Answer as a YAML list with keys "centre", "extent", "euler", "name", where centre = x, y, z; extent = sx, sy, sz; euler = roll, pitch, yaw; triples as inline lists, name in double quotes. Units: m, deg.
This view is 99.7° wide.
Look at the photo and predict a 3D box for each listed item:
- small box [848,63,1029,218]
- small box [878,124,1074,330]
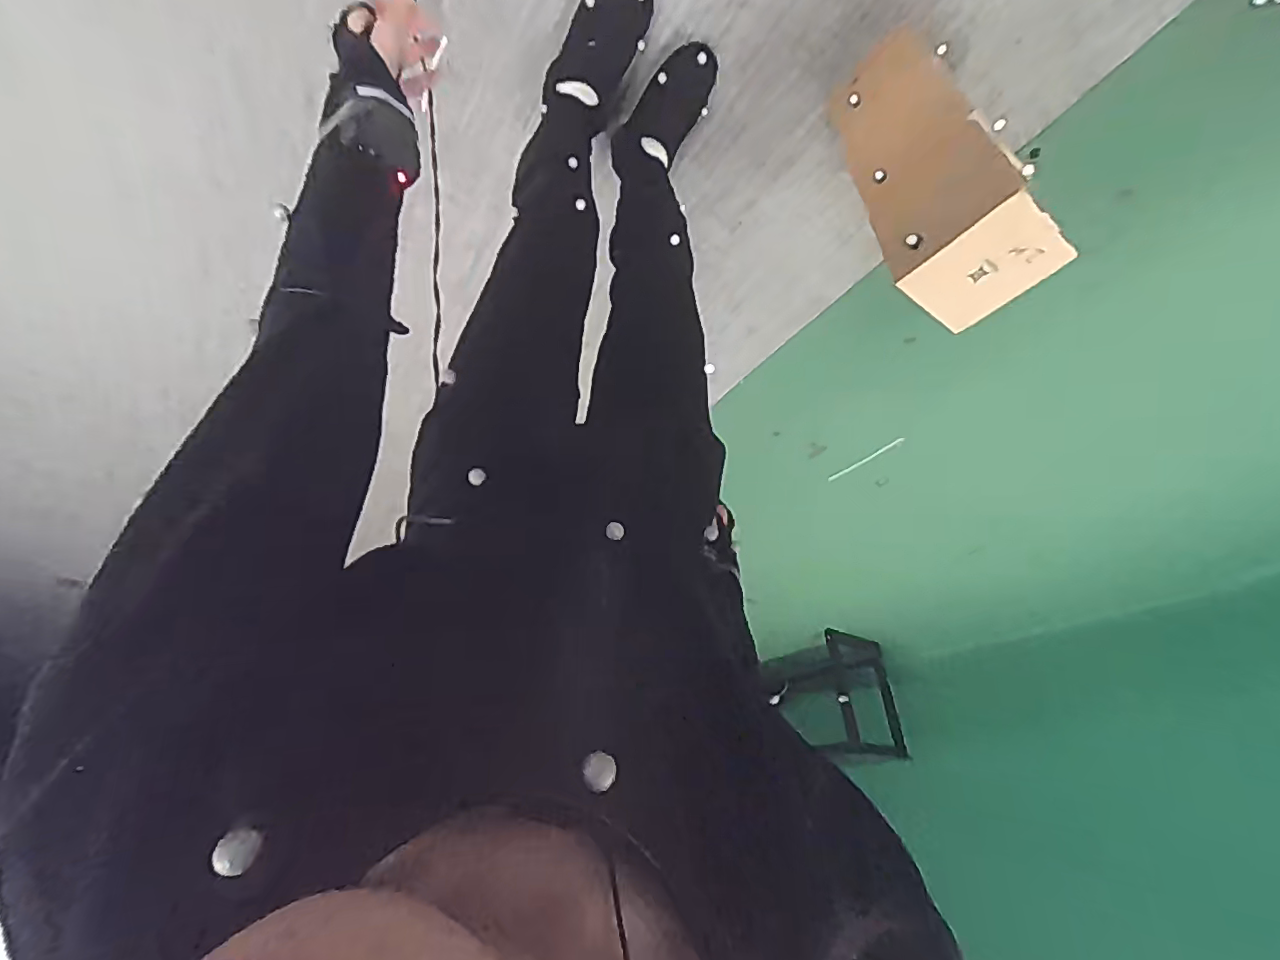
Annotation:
- centre: [0.466, -0.510, 0.868]
  extent: [0.168, 0.176, 0.179]
  euler: [20, 142, -29]
  name: "small box"
- centre: [0.474, -0.364, 0.792]
  extent: [0.168, 0.176, 0.179]
  euler: [20, 142, -29]
  name: "small box"
